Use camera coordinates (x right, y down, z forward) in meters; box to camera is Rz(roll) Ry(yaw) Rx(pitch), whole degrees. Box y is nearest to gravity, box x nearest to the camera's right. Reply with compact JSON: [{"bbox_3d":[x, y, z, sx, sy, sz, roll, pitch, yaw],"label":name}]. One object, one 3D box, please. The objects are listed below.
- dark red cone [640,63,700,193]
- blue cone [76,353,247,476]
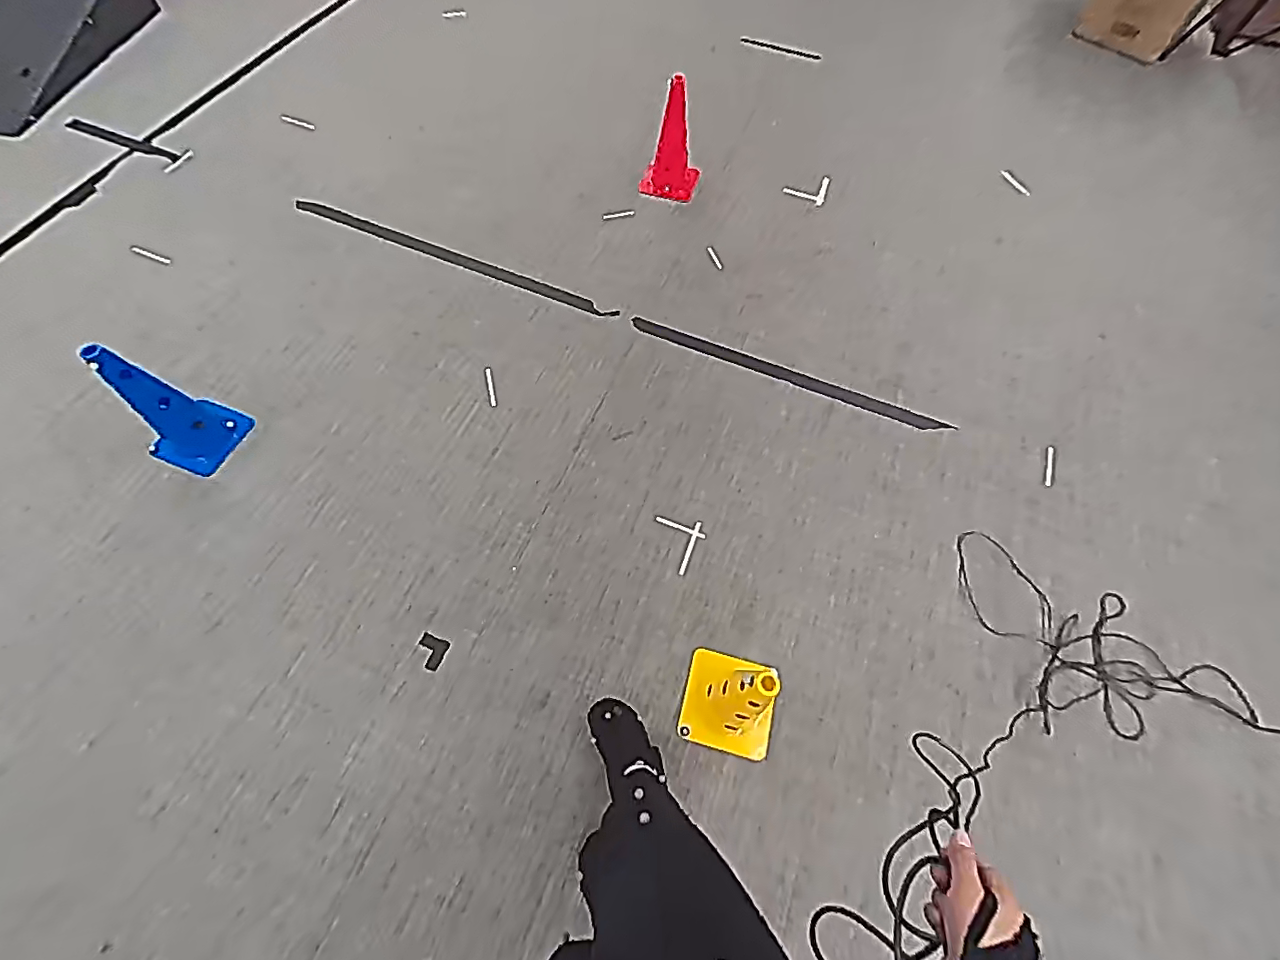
[{"bbox_3d":[0.120,-1.223,1.880,0.202,0.394,0.201,14,64,5],"label":"dark red cone"},{"bbox_3d":[-1.190,-0.185,1.326,0.193,0.380,0.192,22,65,9],"label":"blue cone"}]
